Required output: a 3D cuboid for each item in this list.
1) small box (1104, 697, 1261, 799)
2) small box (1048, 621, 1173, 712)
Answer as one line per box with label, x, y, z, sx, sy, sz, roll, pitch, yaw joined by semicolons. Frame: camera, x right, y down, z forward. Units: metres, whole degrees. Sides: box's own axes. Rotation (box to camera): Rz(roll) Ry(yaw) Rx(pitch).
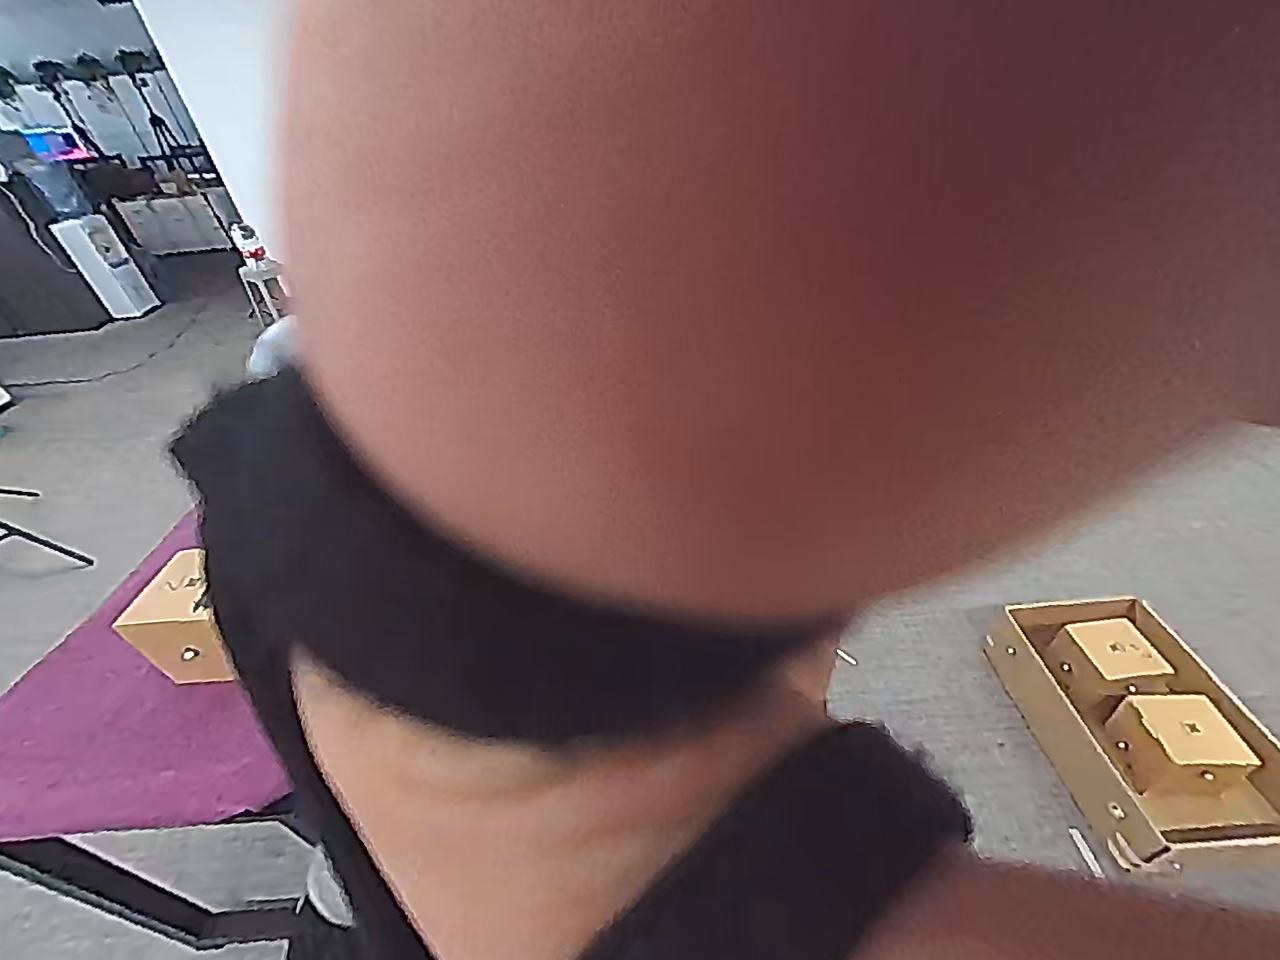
small box;1.279;0.642;1.293;0.179;0.176;0.168;-2;38;6
small box;1.252;0.507;1.462;0.179;0.176;0.168;-6;40;0
